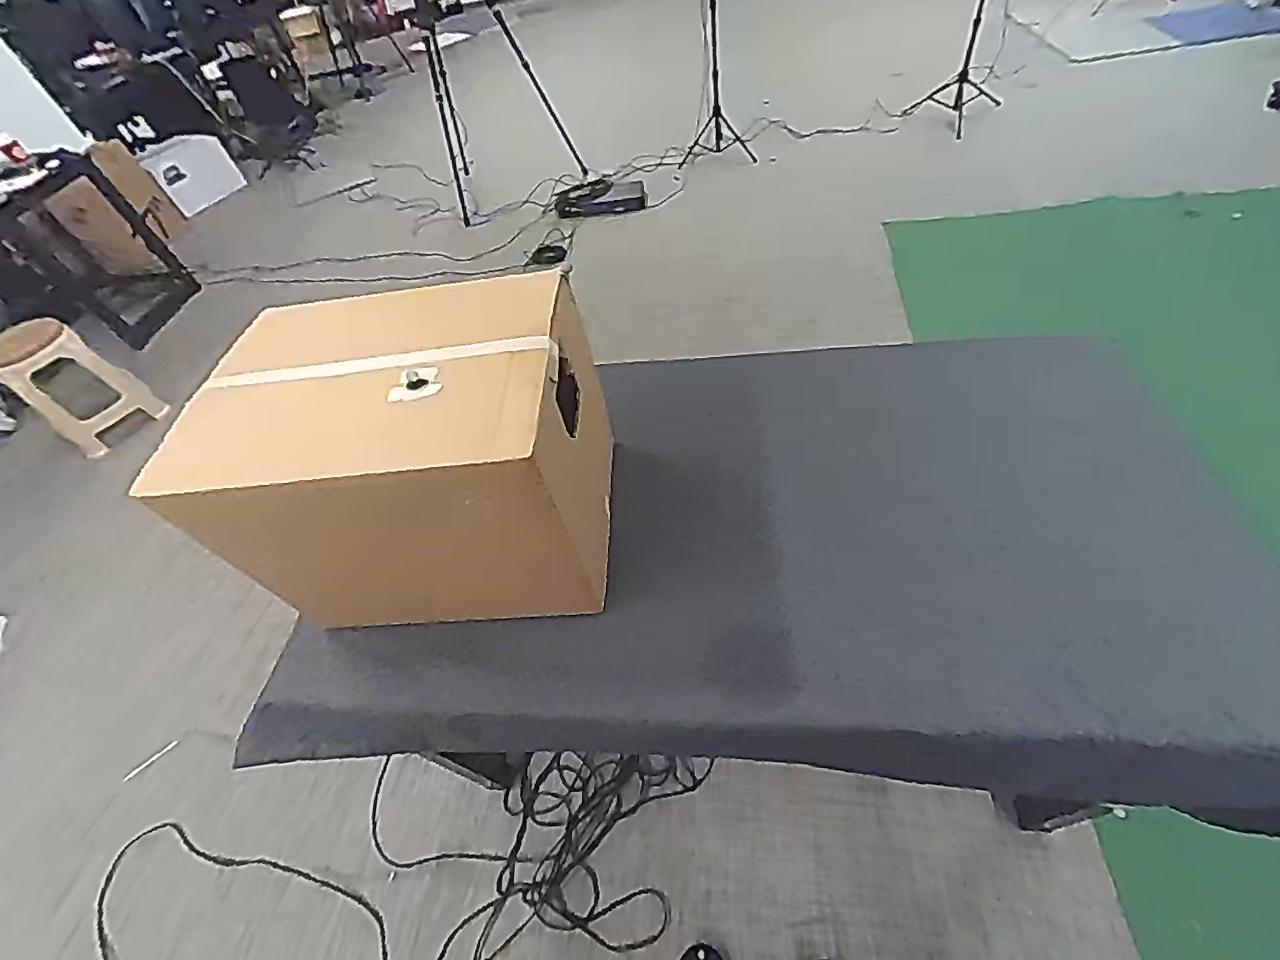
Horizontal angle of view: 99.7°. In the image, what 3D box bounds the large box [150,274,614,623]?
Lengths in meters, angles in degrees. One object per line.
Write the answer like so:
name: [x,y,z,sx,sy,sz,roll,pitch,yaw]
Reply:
large box: [-0.258,-0.028,0.706,0.408,0.320,0.320,-4,51,6]
